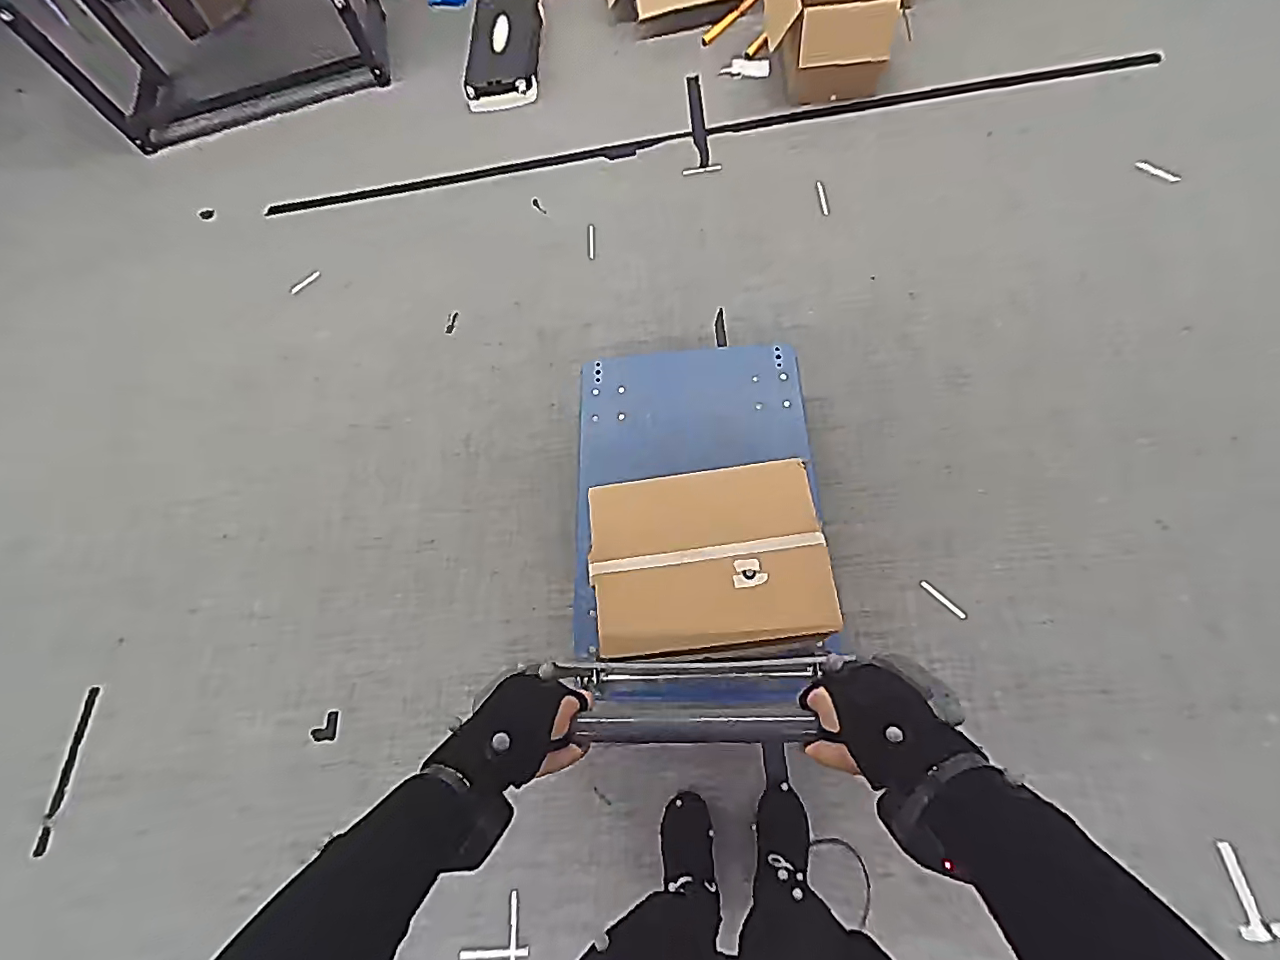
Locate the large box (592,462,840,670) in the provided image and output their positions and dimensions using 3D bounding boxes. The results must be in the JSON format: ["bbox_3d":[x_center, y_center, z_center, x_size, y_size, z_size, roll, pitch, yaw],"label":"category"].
[{"bbox_3d":[0.135,0.193,1.101,0.408,0.320,0.320,-9,68,3],"label":"large box"}]
